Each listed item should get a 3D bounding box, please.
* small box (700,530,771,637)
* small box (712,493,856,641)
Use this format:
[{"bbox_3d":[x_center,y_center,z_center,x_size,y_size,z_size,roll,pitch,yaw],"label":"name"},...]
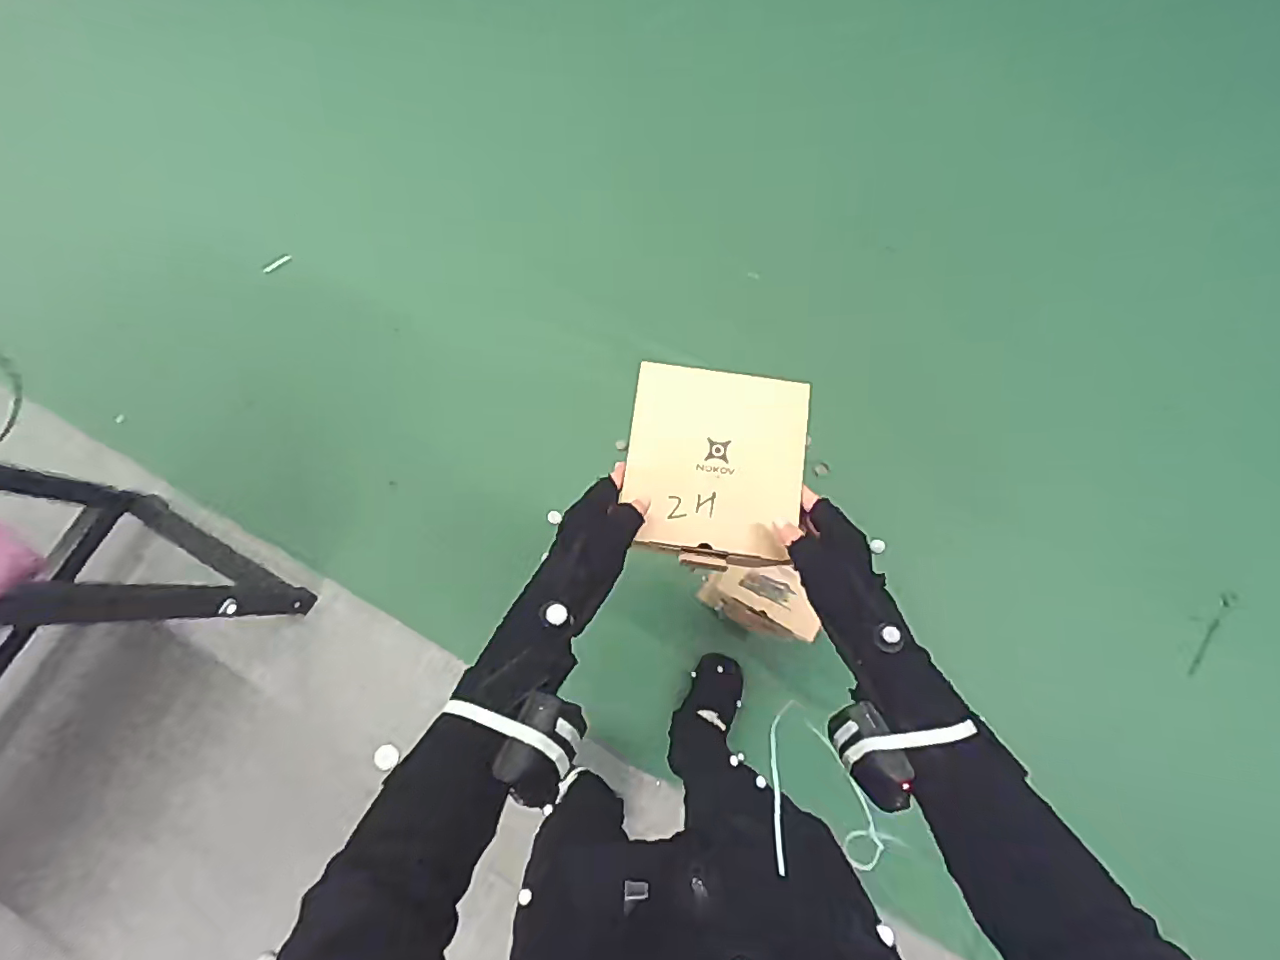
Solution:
[{"bbox_3d":[0.247,0.234,1.236,0.168,0.176,0.179,30,82,10],"label":"small box"},{"bbox_3d":[0.232,0.150,0.918,0.168,0.176,0.179,30,80,9],"label":"small box"}]
